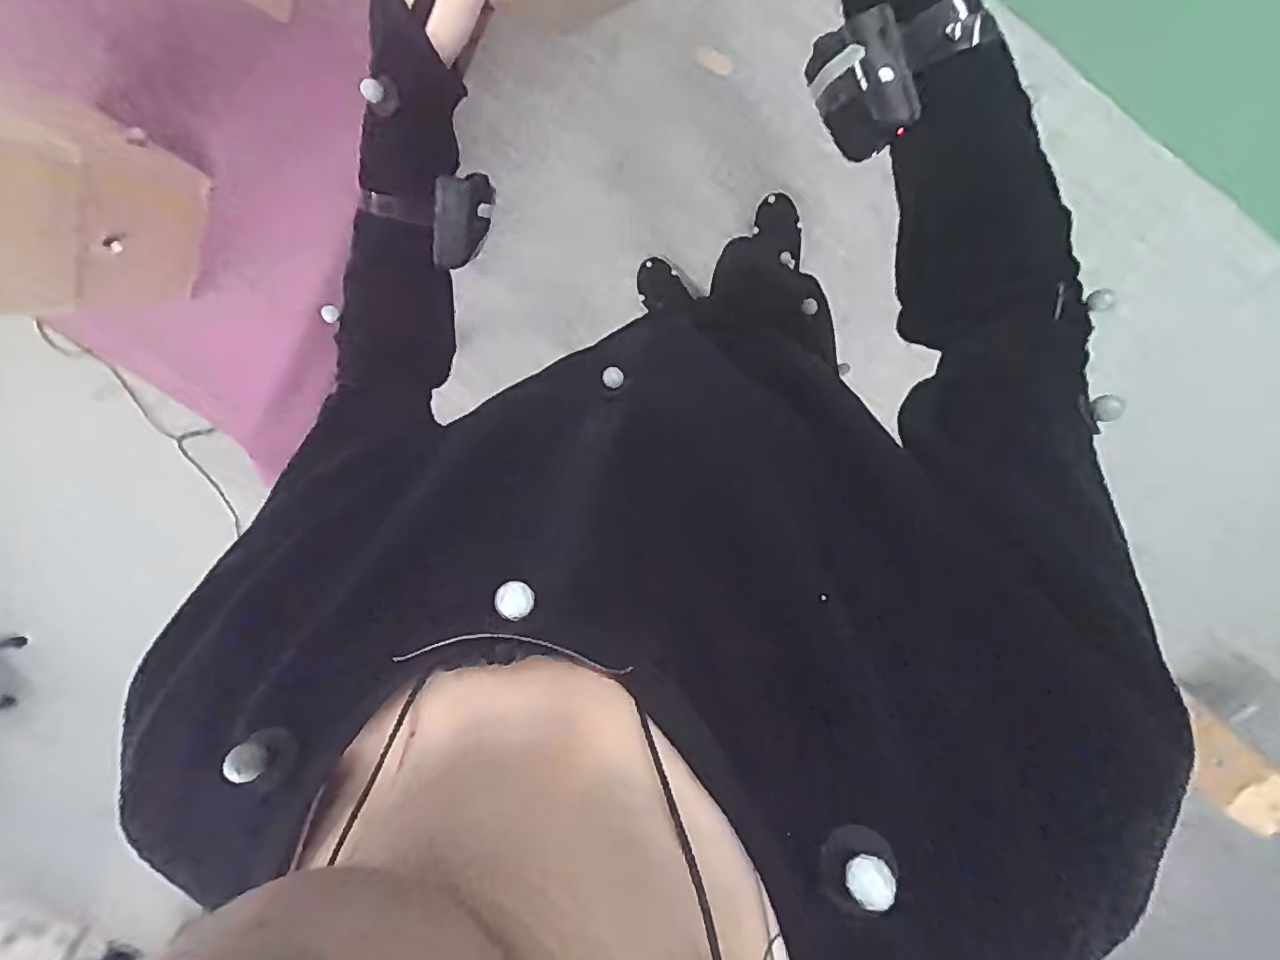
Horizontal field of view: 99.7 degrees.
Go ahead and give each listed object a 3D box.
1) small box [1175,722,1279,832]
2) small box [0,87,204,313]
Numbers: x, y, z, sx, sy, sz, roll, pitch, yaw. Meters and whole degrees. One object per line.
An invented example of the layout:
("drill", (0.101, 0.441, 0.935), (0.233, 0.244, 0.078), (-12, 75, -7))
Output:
("small box", (1.623, 0.787, 1.450), (0.179, 0.176, 0.168), (30, 112, -6))
("small box", (-0.658, -0.319, 0.626), (0.168, 0.176, 0.179), (29, 111, -7))
